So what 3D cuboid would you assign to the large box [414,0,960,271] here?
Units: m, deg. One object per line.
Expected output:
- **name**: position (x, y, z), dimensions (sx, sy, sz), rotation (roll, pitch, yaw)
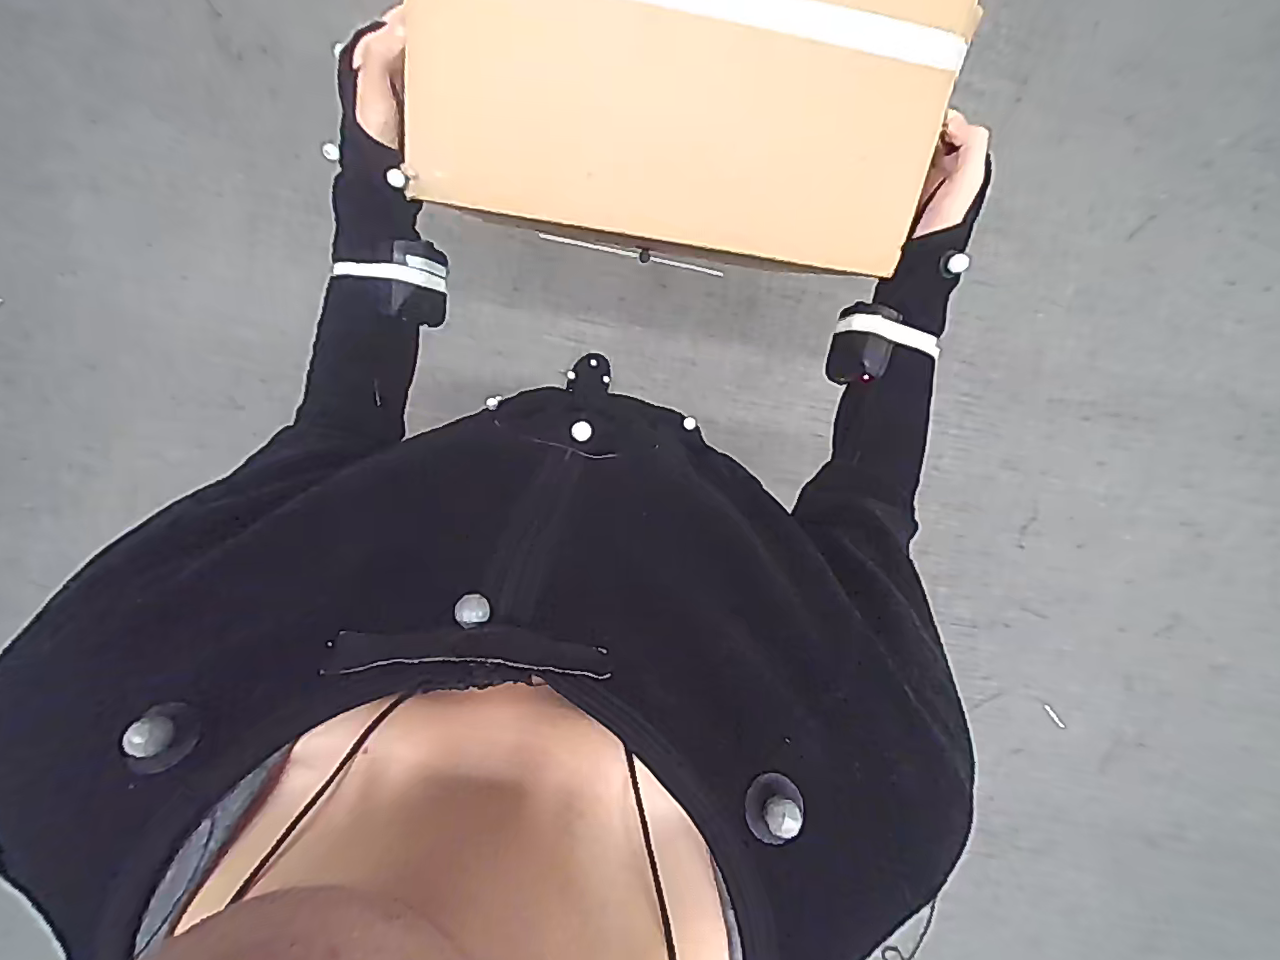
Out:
- **large box**: position (0.030, -0.402, 0.535), dimensions (0.408, 0.320, 0.320), rotation (7, 111, -7)
